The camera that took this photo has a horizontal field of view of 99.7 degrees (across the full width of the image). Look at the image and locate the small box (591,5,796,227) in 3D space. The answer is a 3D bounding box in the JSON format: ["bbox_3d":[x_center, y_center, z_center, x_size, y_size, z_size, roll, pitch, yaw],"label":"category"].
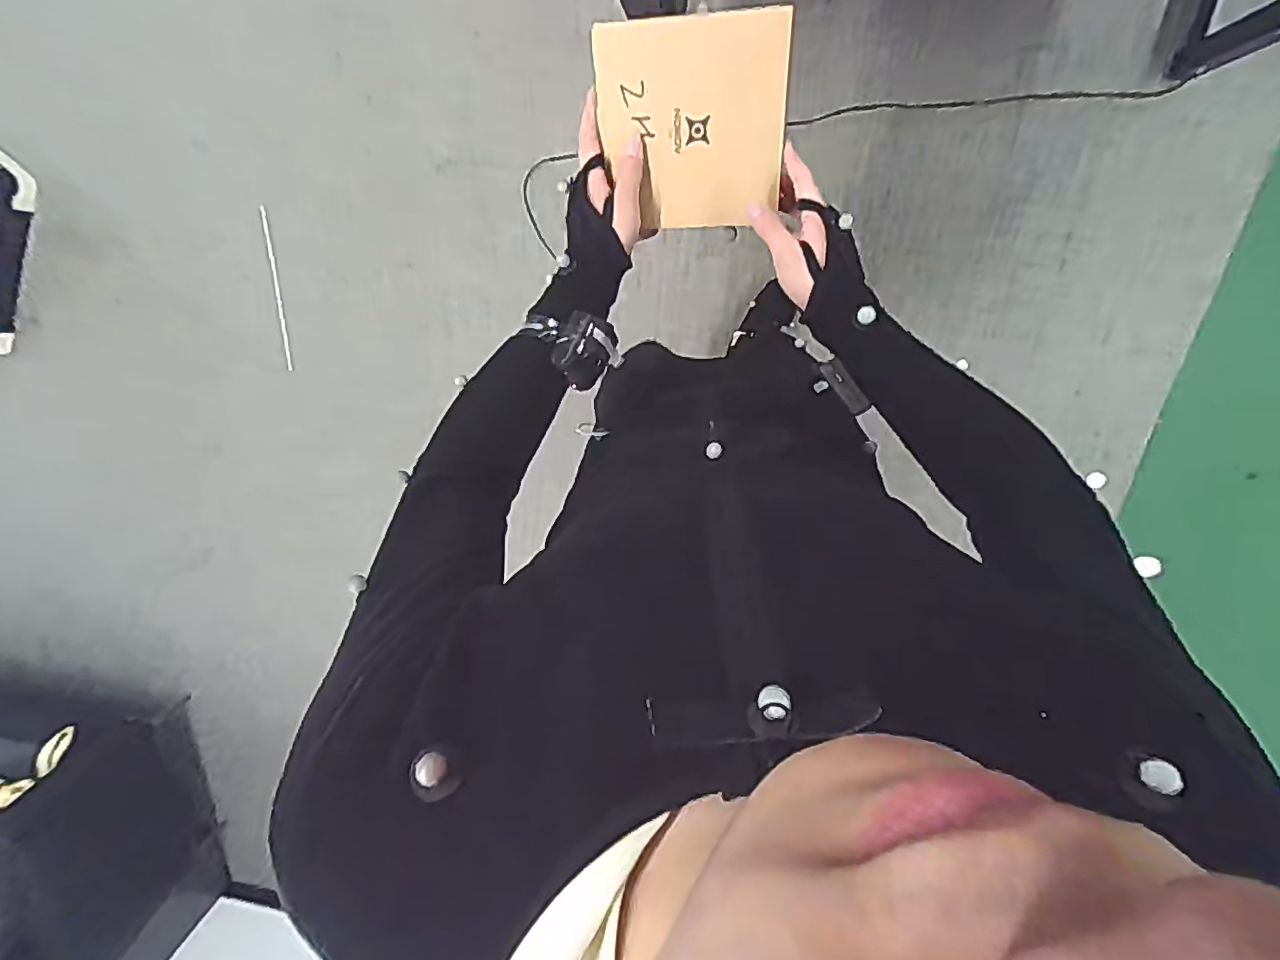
[{"bbox_3d":[0.057,-0.361,0.560,0.179,0.176,0.168,3,120,9],"label":"small box"}]
